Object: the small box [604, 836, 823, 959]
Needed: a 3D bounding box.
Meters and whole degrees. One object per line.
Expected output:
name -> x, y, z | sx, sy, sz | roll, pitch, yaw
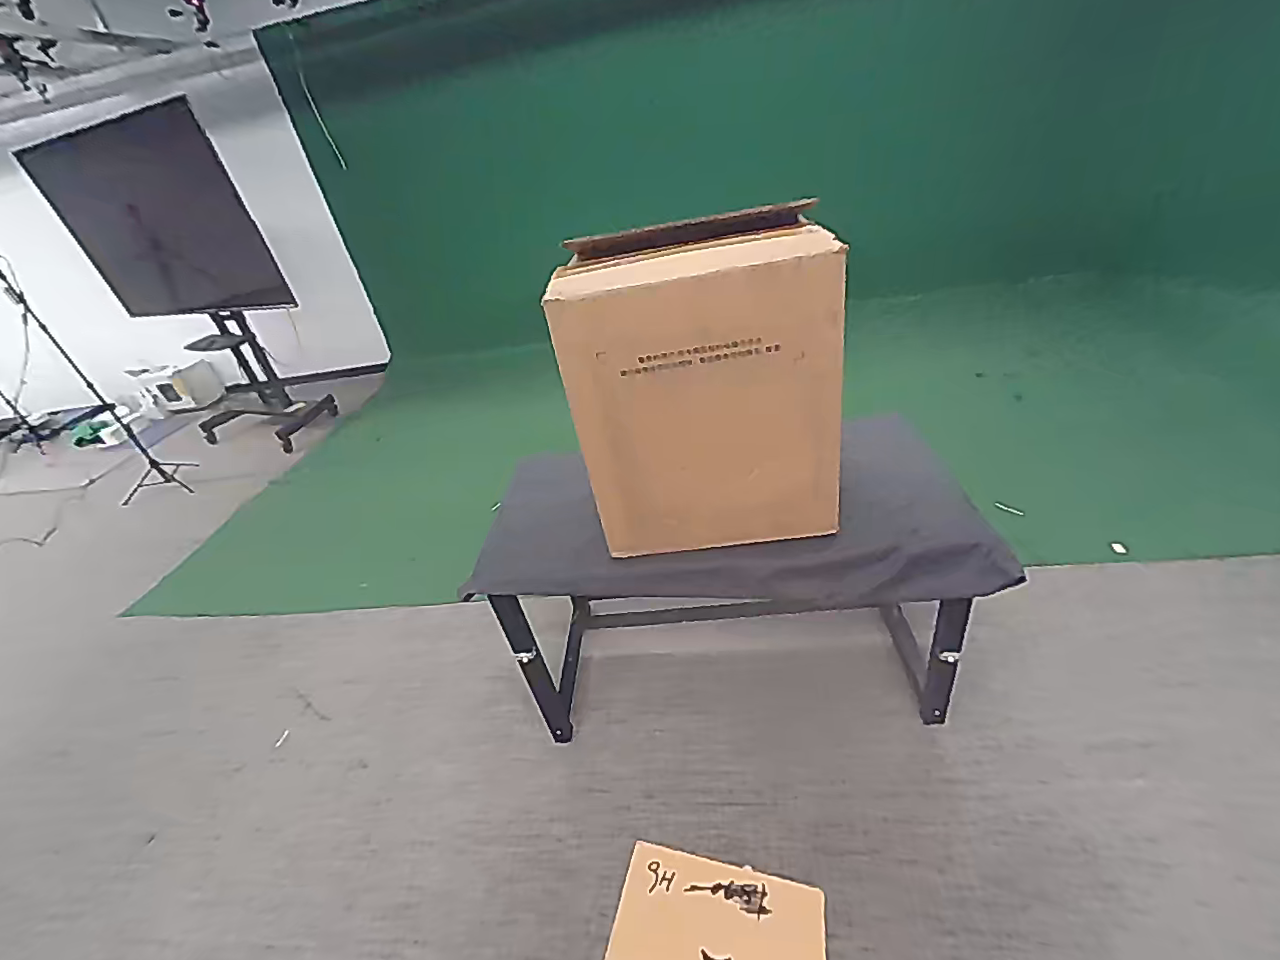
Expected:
small box -> 0.056, 0.445, 0.442 | 0.168, 0.176, 0.179 | 6, 29, 14
